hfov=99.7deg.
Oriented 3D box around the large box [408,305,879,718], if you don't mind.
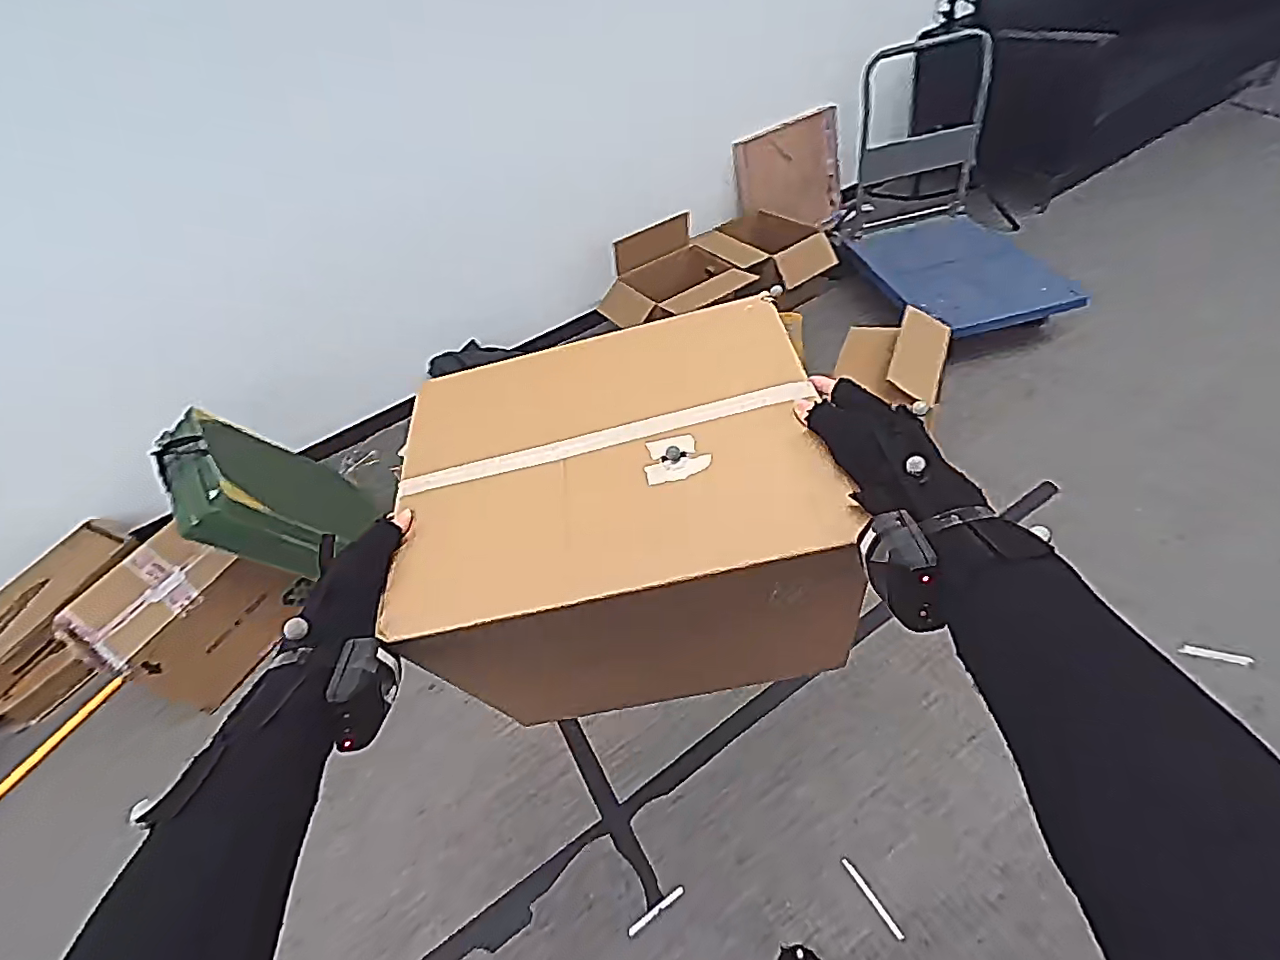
[{"bbox_3d":[0.006,0.054,0.643,0.408,0.320,0.320,-12,53,5],"label":"large box"}]
